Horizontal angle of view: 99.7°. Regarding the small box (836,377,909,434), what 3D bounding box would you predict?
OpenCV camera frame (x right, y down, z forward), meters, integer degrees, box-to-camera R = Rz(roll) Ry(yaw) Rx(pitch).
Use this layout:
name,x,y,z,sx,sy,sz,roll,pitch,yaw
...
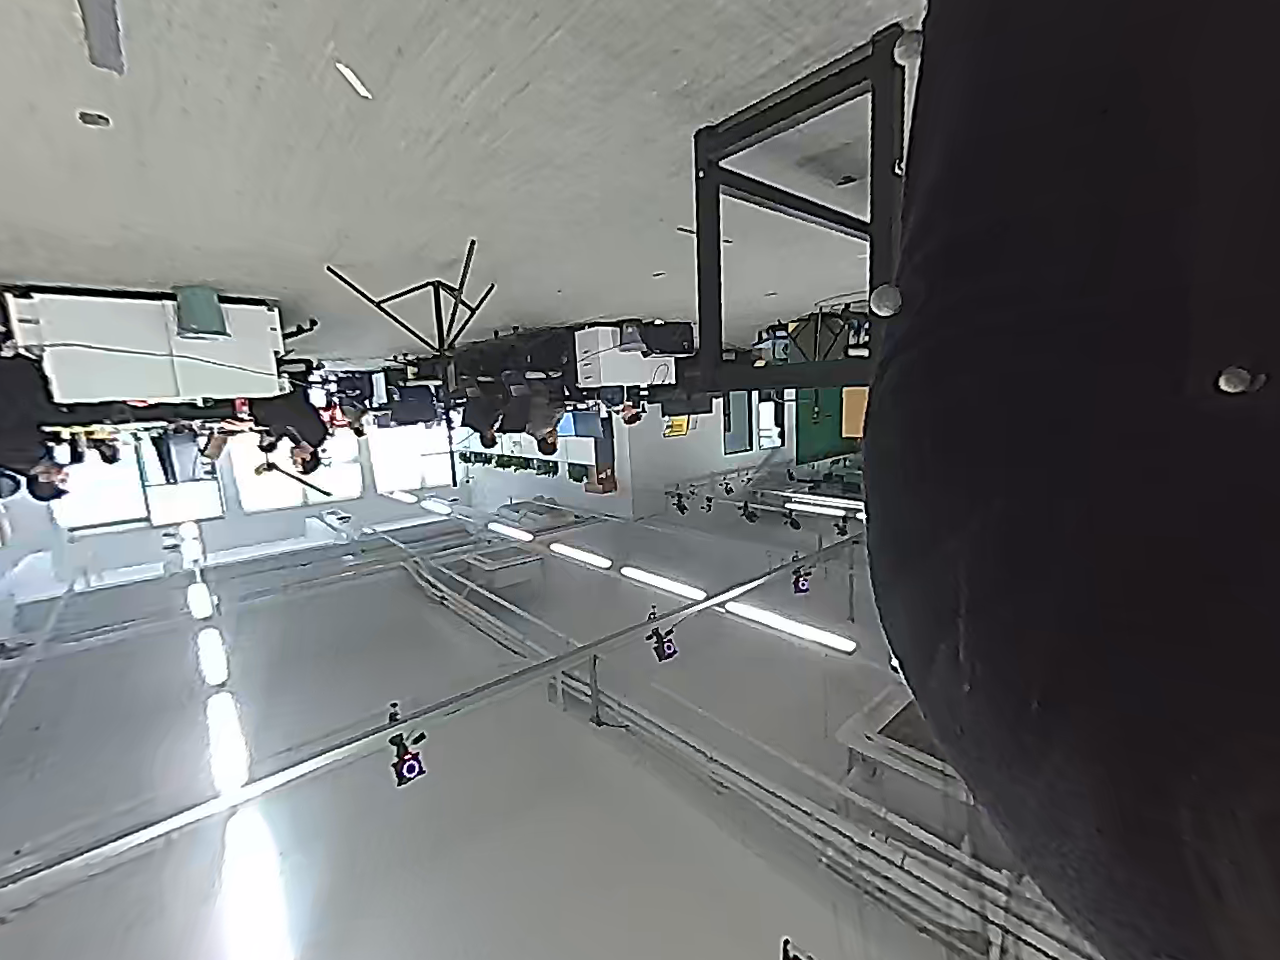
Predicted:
name,x,y,z,sx,sy,sz,roll,pitch,yaw
small box,0.748,-0.240,1.735,0.179,0.176,0.168,5,-168,44
